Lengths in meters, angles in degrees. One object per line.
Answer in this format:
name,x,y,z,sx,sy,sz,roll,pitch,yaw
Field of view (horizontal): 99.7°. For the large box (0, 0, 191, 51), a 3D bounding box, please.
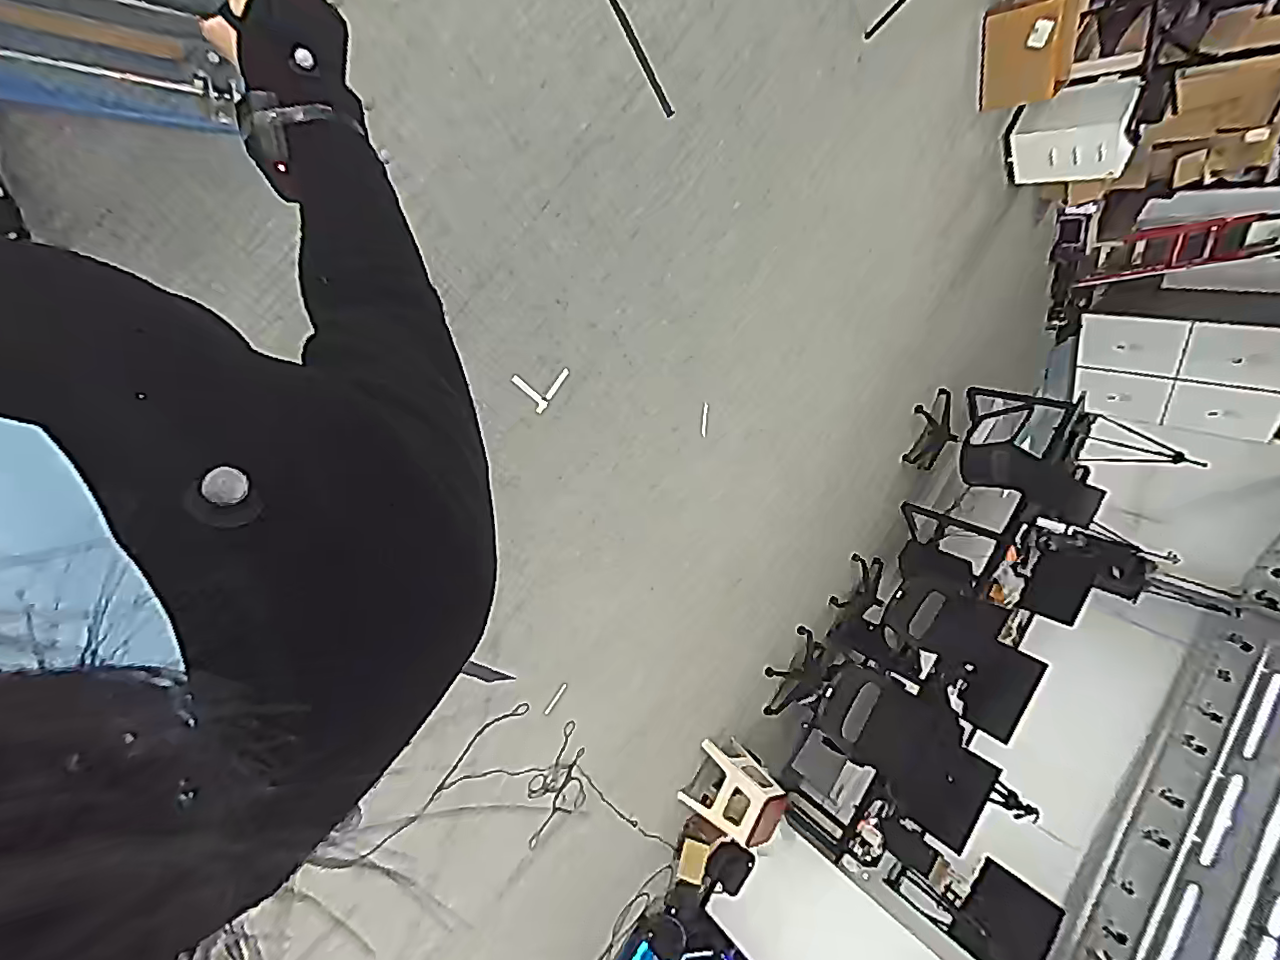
large box,-0.800,-0.748,0.597,0.408,0.320,0.320,-17,119,-41
